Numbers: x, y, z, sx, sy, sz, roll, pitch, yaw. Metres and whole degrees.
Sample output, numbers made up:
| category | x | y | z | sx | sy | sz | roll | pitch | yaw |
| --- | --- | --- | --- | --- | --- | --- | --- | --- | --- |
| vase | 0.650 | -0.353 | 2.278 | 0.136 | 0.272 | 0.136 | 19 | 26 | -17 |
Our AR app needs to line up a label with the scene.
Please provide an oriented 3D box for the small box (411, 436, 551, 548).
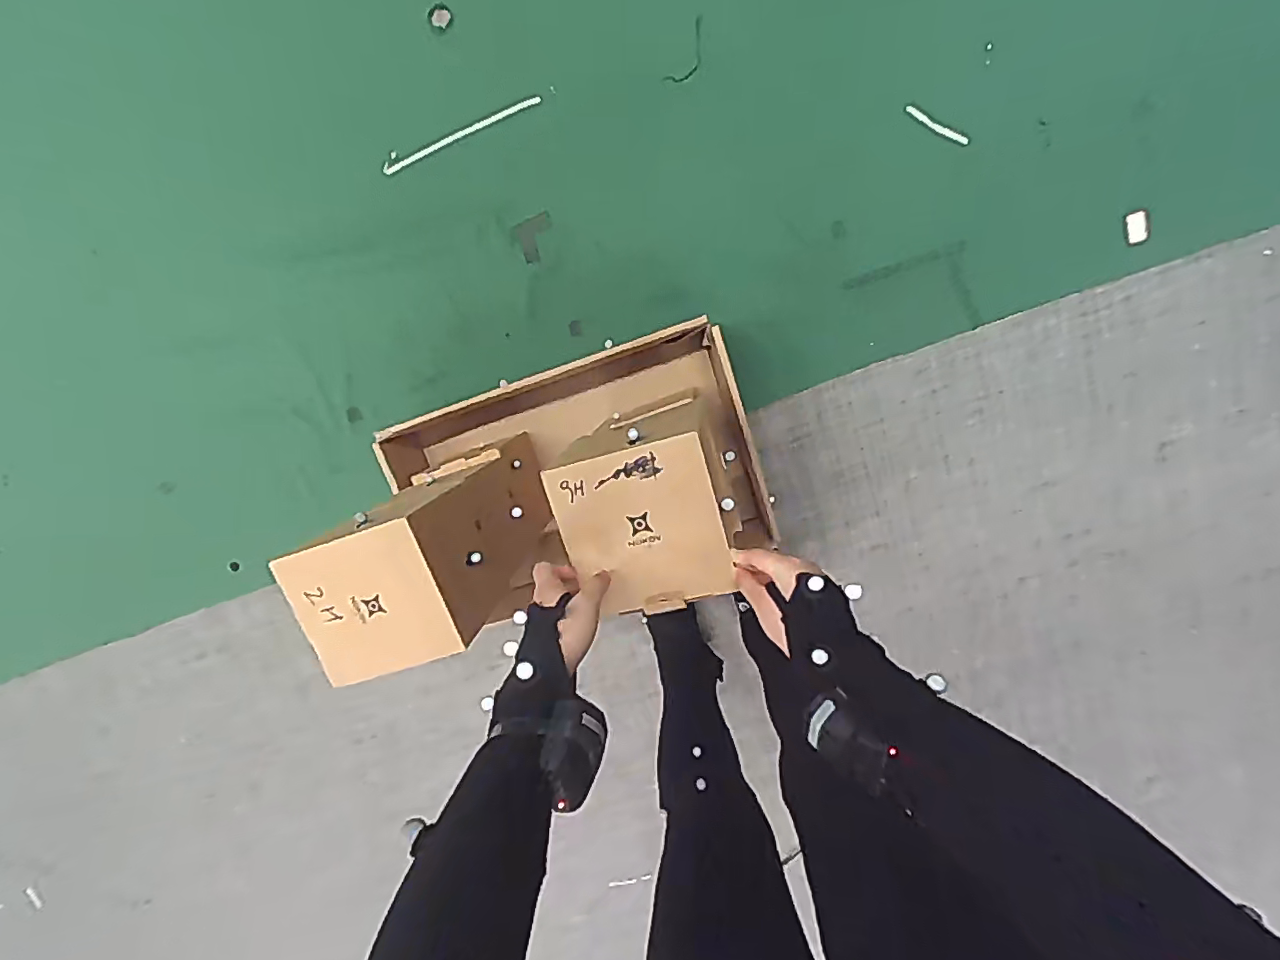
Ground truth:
| category | x | y | z | sx | sy | sz | roll | pitch | yaw |
| --- | --- | --- | --- | --- | --- | --- | --- | --- | --- |
| small box | -0.273 | 0.035 | 0.987 | 0.168 | 0.176 | 0.179 | -19 | 103 | 9 |

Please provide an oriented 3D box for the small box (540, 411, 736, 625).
| category | x | y | z | sx | sy | sz | roll | pitch | yaw |
| --- | --- | --- | --- | --- | --- | --- | --- | --- | --- |
| small box | 0.009 | 0.035 | 0.623 | 0.168 | 0.176 | 0.179 | -14 | 105 | 11 |

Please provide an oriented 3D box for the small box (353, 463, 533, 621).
| category | x | y | z | sx | sy | sz | roll | pitch | yaw |
| --- | --- | --- | --- | --- | --- | --- | --- | --- | --- |
| small box | -0.288 | 0.086 | 0.832 | 0.179 | 0.176 | 0.168 | -18 | 103 | 8 |

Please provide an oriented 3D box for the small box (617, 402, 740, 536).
| category | x | y | z | sx | sy | sz | roll | pitch | yaw |
| --- | --- | --- | --- | --- | --- | --- | --- | --- | --- |
| small box | 0.034 | -0.002 | 0.781 | 0.179 | 0.176 | 0.168 | -19 | 104 | 10 |
